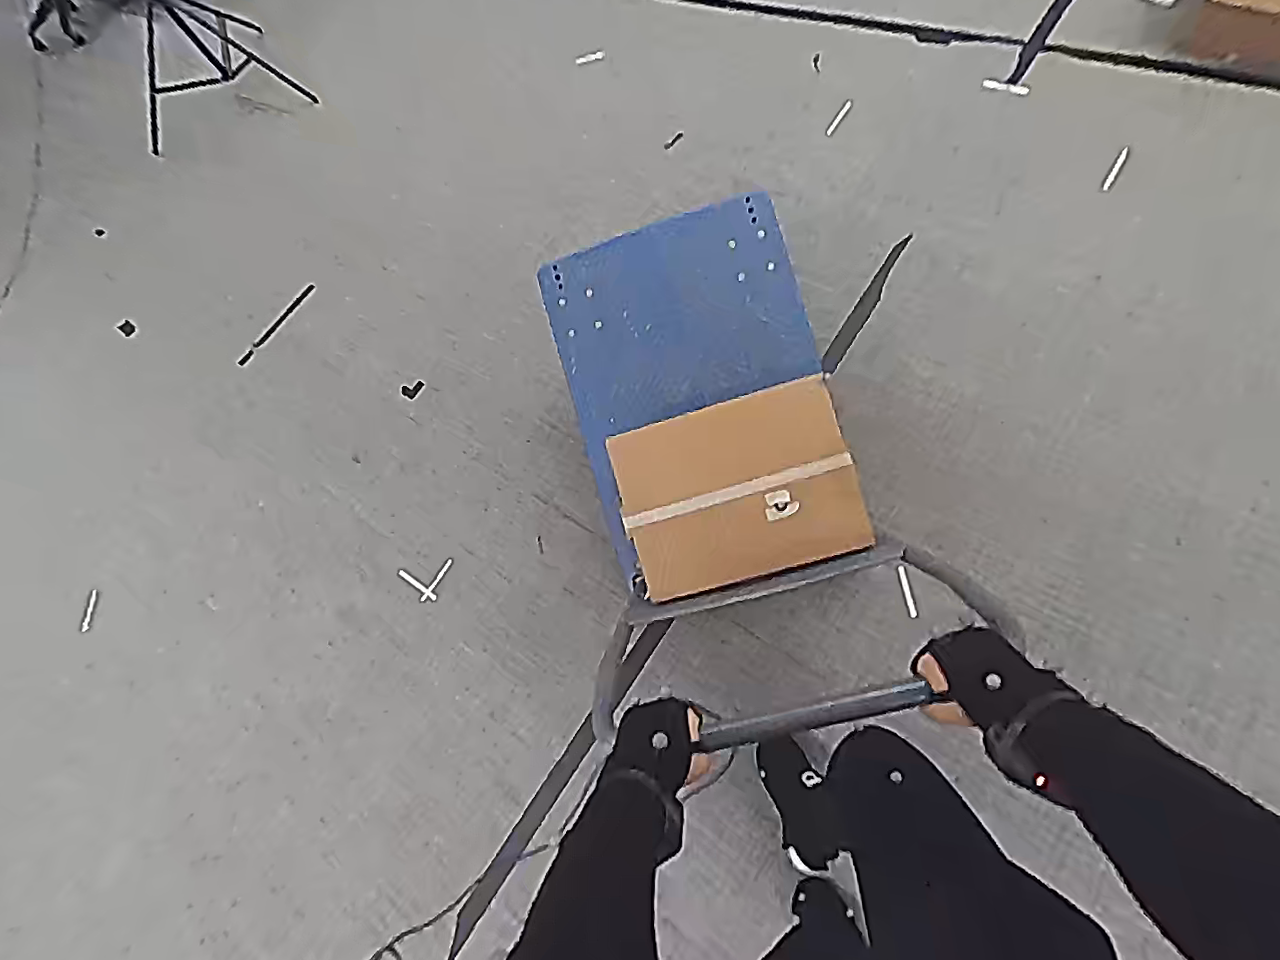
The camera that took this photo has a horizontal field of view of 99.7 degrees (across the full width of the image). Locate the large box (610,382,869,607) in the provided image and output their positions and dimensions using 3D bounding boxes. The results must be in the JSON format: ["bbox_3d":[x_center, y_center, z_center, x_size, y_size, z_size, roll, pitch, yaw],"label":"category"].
[{"bbox_3d":[0.189,0.034,1.121,0.408,0.320,0.320,-17,88,6],"label":"large box"}]
